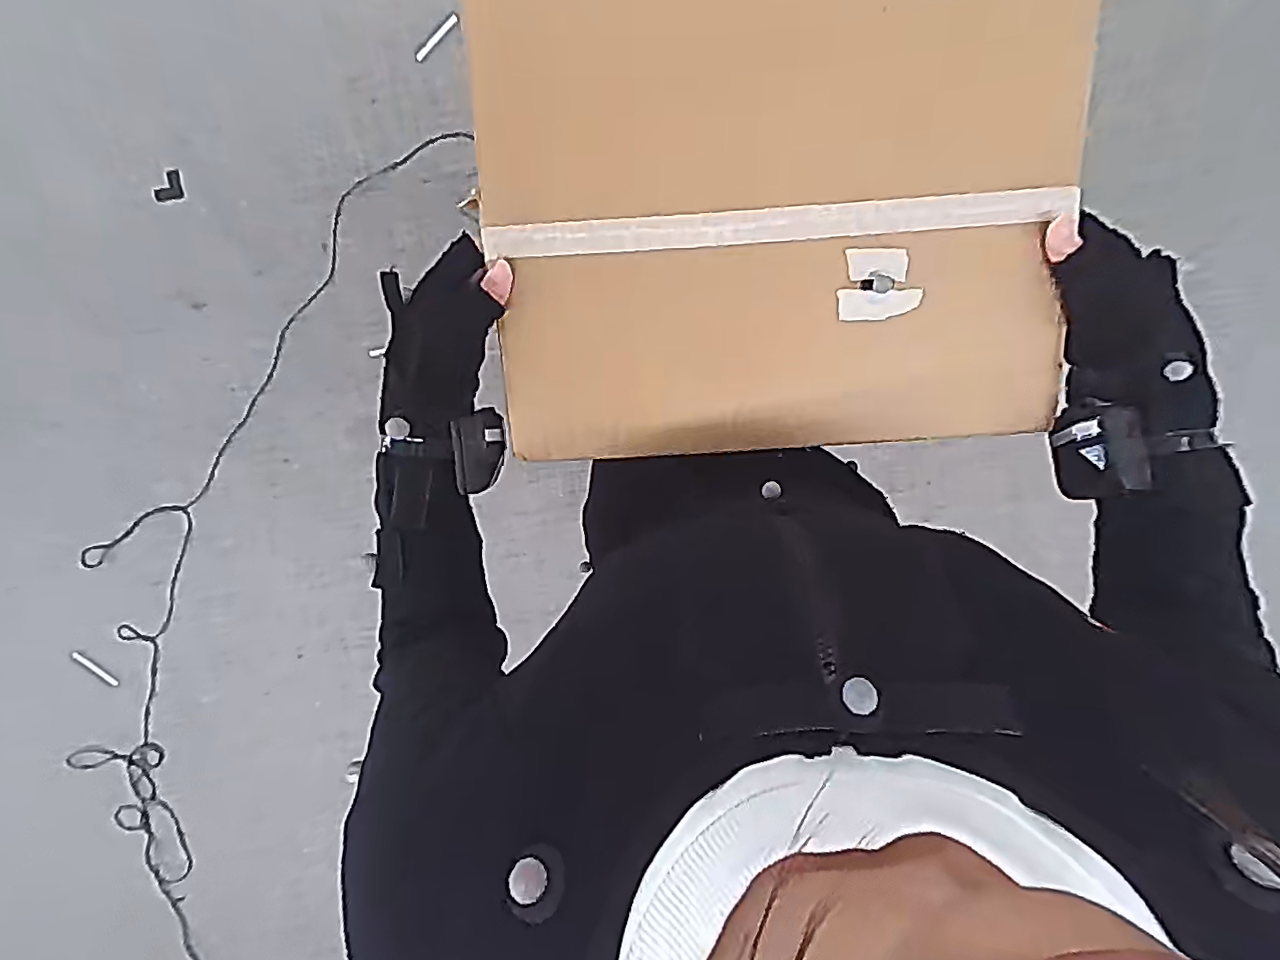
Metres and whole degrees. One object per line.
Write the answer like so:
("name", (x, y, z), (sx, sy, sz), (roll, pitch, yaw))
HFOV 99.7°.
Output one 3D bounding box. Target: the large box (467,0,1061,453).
("large box", (0.090, -0.217, 0.534), (0.408, 0.320, 0.320), (-4, 104, 0))
